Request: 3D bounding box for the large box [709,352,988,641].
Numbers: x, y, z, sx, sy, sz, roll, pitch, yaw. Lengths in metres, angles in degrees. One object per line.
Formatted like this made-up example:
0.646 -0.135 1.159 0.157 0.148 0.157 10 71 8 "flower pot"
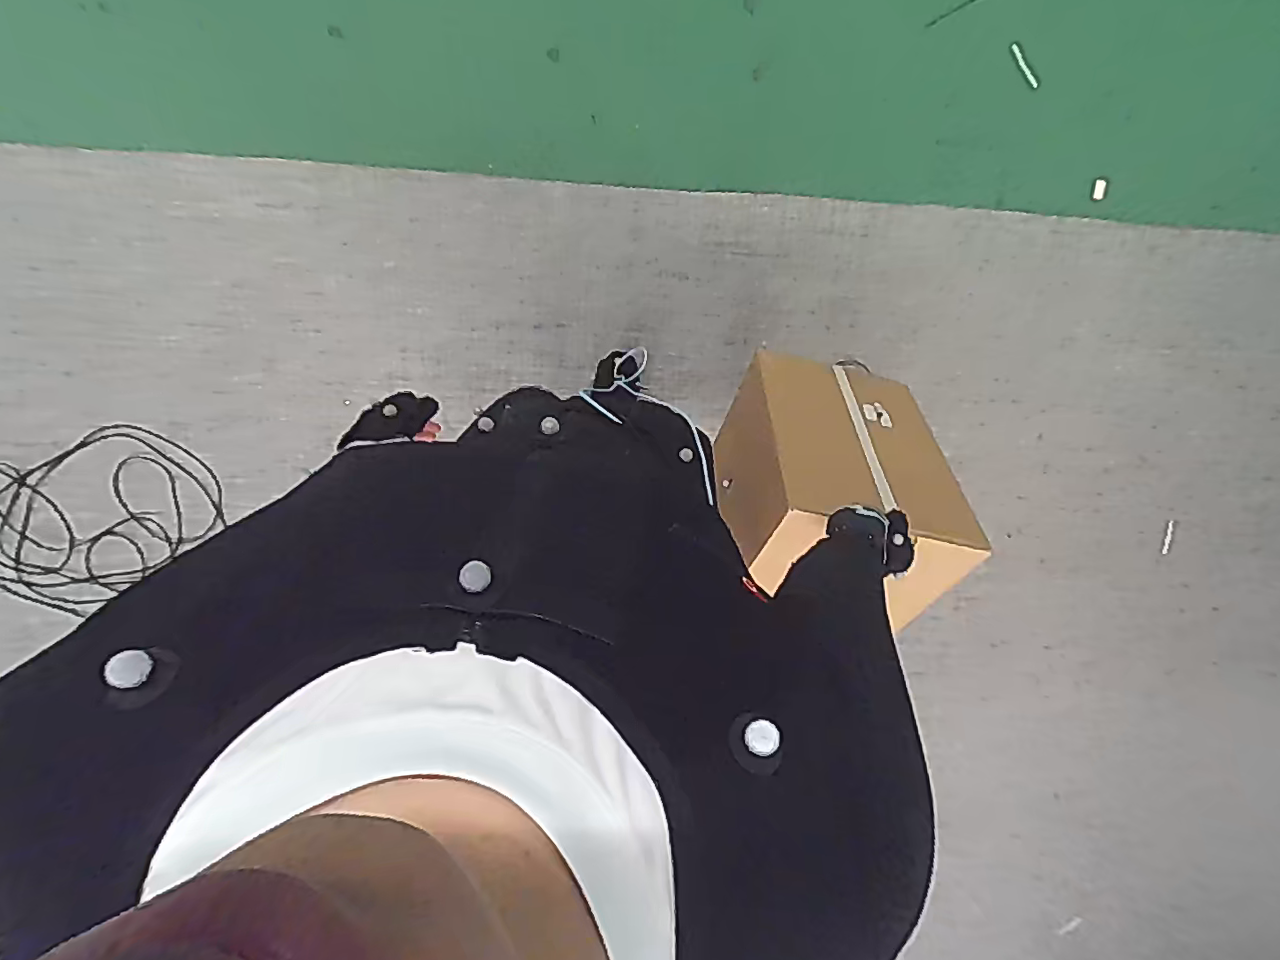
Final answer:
0.325 0.030 0.994 0.320 0.408 0.320 12 134 -8 "large box"
